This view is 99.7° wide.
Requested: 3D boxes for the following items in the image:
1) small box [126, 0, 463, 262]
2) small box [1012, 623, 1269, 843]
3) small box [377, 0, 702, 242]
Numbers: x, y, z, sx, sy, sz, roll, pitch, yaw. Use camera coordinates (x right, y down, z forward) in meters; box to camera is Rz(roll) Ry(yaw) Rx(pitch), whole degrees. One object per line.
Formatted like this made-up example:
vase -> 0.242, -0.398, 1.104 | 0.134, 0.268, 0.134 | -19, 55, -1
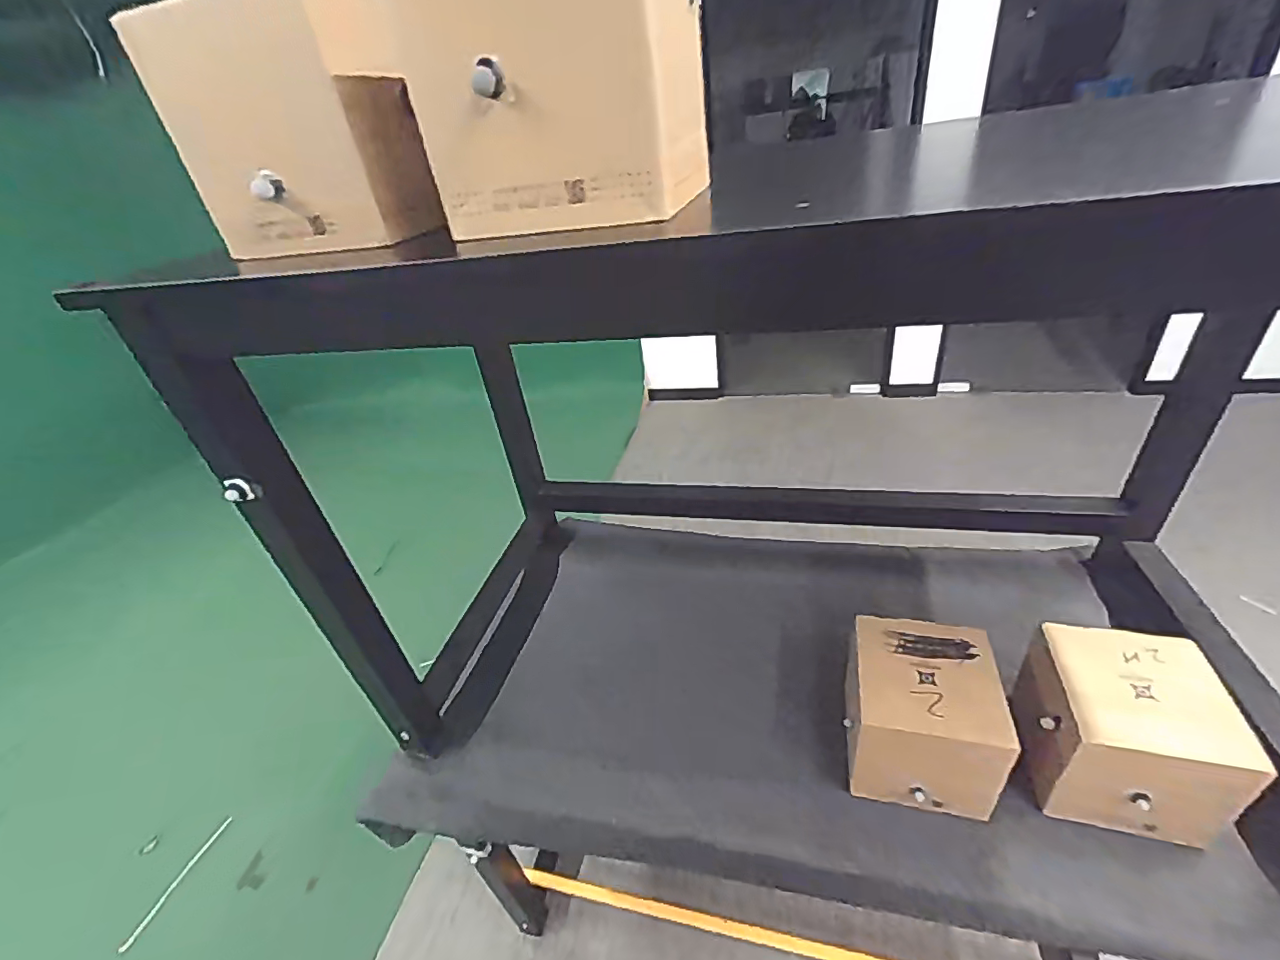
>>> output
small box -> -0.263, -0.300, 0.477 | 0.168, 0.176, 0.179 | 2, 36, 16
small box -> 0.595, 0.312, 0.676 | 0.168, 0.176, 0.179 | 4, 35, 19
small box -> -0.050, -0.284, 0.405 | 0.168, 0.176, 0.179 | 2, 35, 17
